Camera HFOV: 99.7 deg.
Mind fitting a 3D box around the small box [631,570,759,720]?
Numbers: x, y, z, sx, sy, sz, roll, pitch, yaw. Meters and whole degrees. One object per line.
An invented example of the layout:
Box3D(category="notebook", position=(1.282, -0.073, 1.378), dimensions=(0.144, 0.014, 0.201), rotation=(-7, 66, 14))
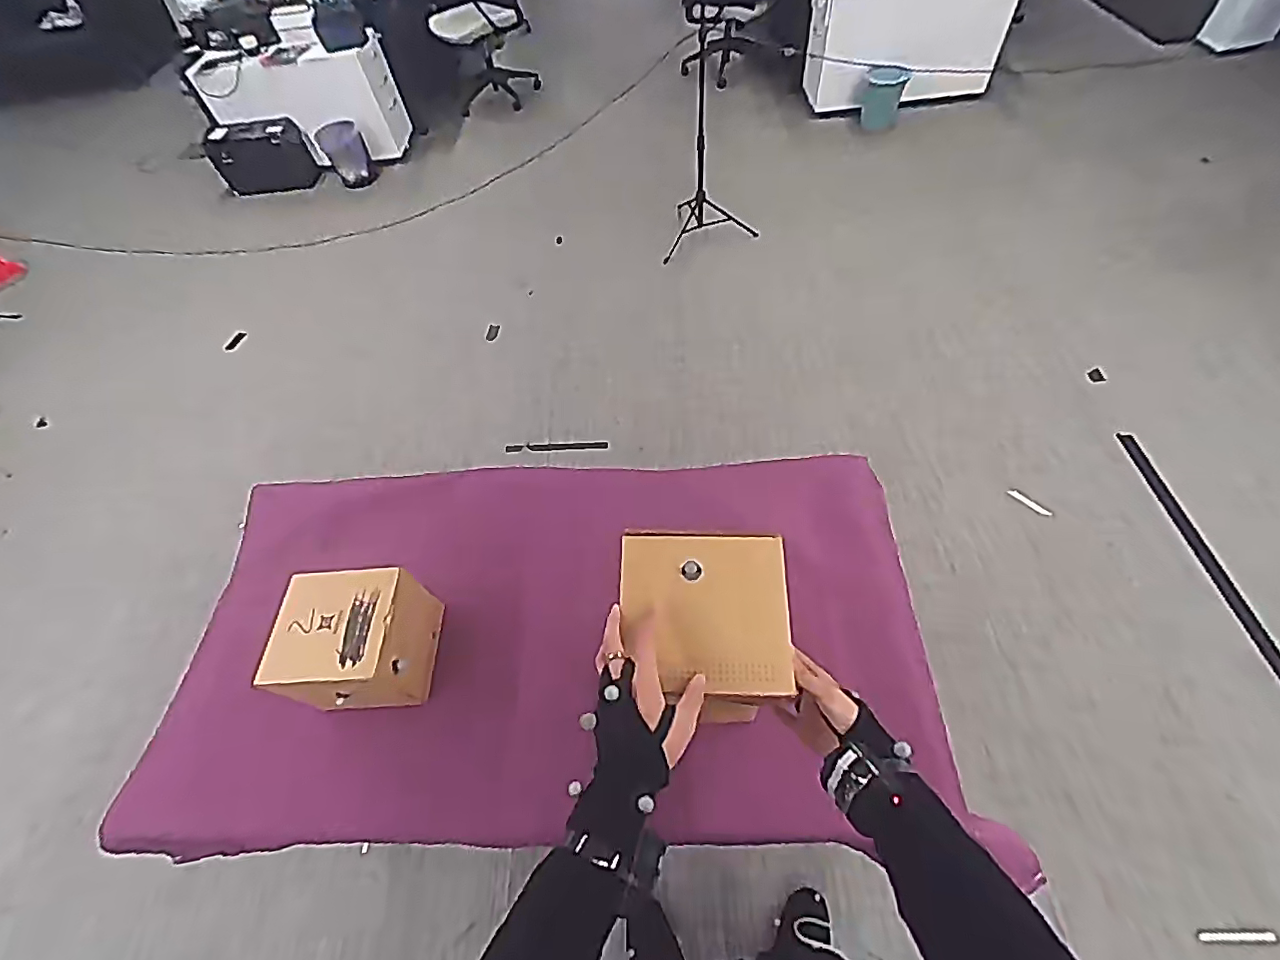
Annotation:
Box3D(category="small box", position=(0.078, 0.249, 0.795), dimensions=(0.168, 0.176, 0.179), rotation=(-3, 56, 4))
